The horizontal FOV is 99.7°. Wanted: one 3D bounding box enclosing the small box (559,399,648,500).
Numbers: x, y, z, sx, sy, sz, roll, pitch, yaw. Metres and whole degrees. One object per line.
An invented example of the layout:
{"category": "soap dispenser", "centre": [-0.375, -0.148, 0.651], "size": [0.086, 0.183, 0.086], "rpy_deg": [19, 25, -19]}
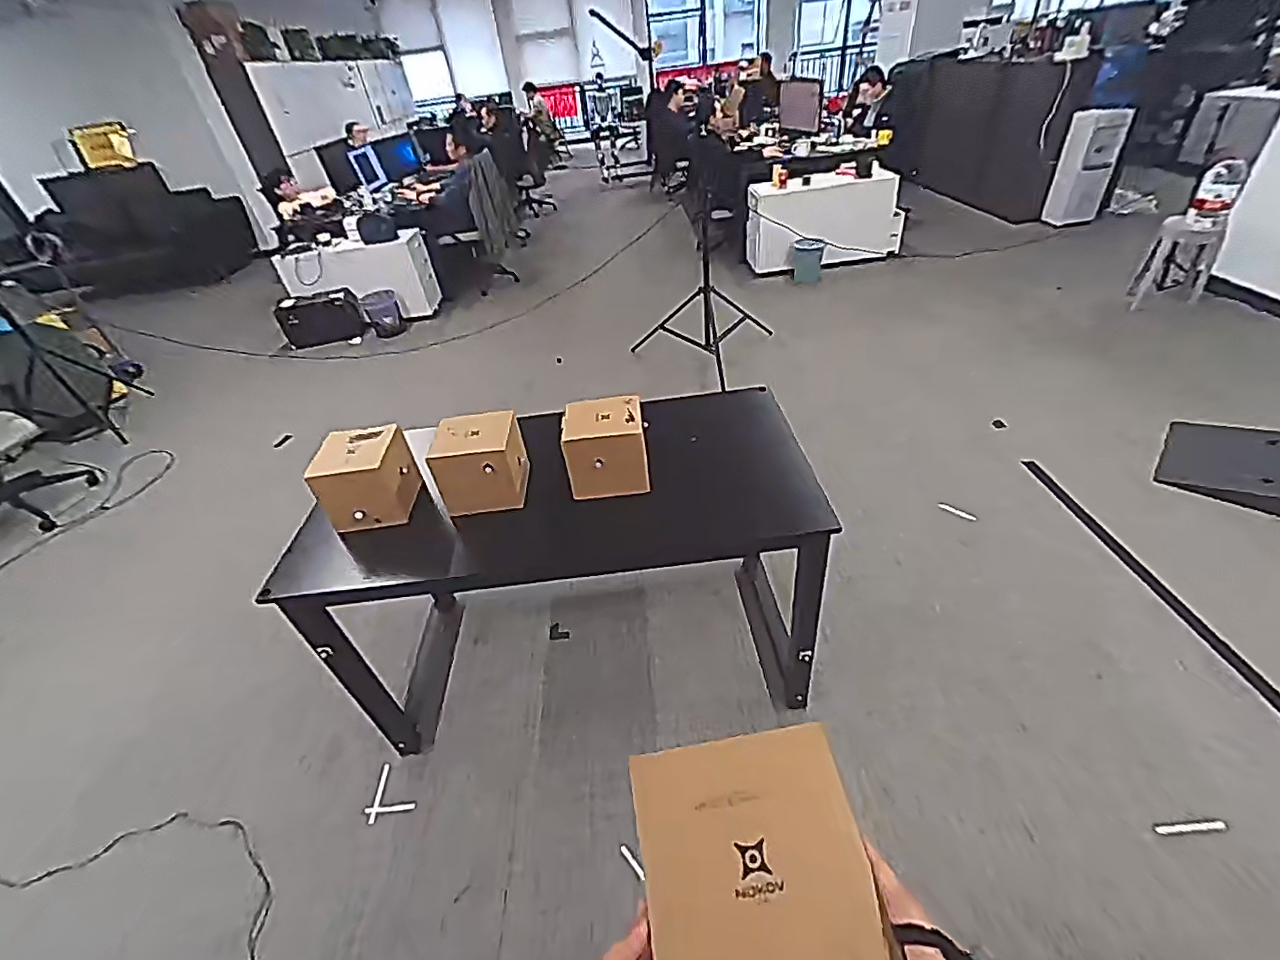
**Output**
{"category": "small box", "centre": [-0.080, -0.069, 1.262], "size": [0.179, 0.176, 0.168], "rpy_deg": [-7, 38, 3]}

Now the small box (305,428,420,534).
{"category": "small box", "centre": [-0.636, 0.001, 1.269], "size": [0.168, 0.176, 0.179], "rpy_deg": [-8, 39, 0]}

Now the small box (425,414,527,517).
{"category": "small box", "centre": [-0.371, -0.033, 1.265], "size": [0.179, 0.176, 0.168], "rpy_deg": [-7, 38, 0]}
